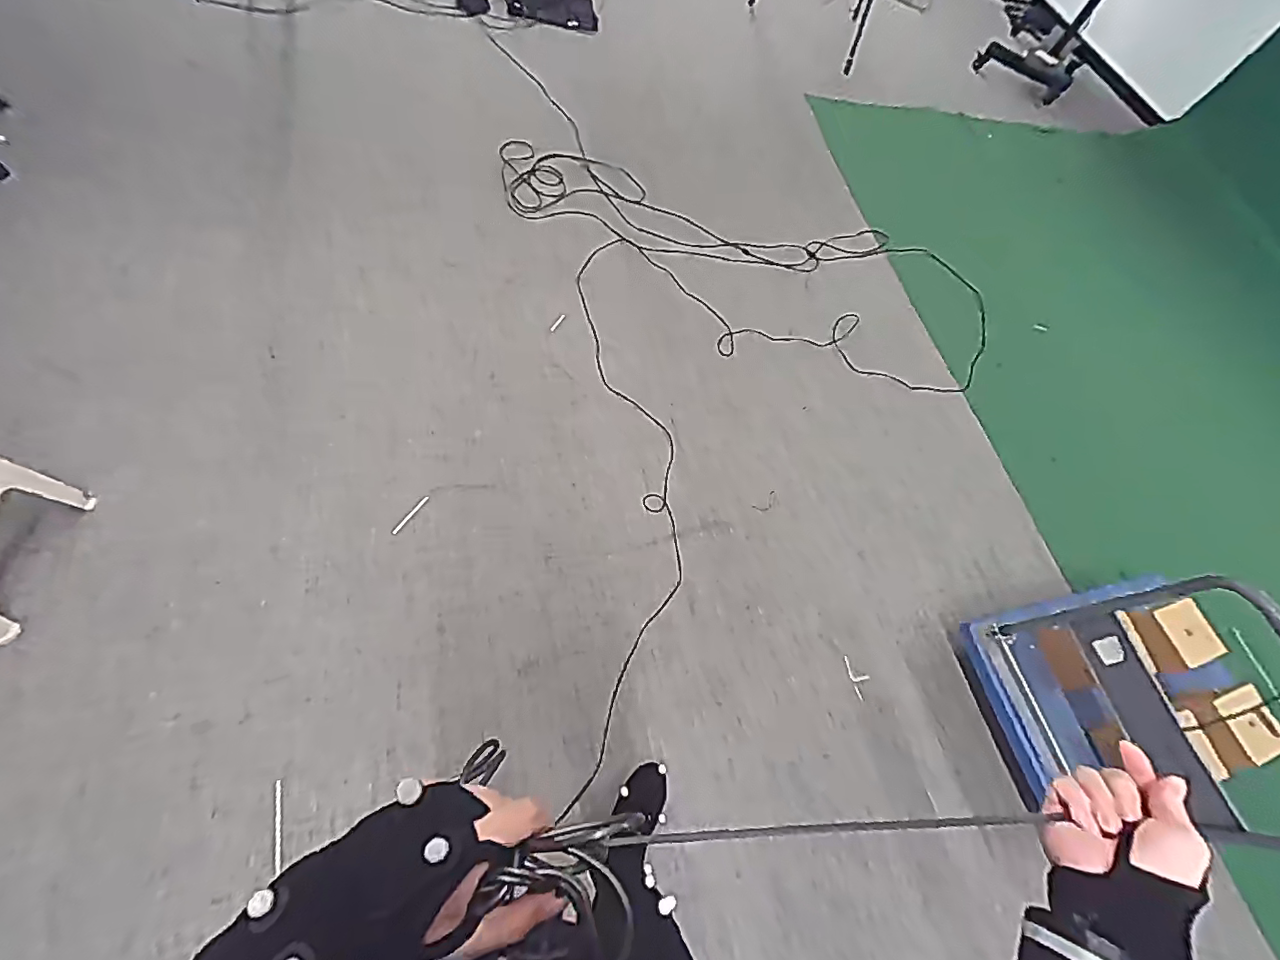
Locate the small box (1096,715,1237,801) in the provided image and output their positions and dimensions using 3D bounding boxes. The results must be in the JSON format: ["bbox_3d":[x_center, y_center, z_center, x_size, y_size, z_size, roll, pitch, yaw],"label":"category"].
[{"bbox_3d":[1.379,0.729,1.429,0.179,0.176,0.168,-7,65,-15],"label":"small box"}]

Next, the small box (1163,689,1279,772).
[{"bbox_3d":[1.637,0.695,1.504,0.179,0.176,0.168,-11,65,-17],"label":"small box"}]

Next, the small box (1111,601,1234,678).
[{"bbox_3d":[1.560,0.476,1.601,0.179,0.176,0.168,-11,67,-18],"label":"small box"}]
